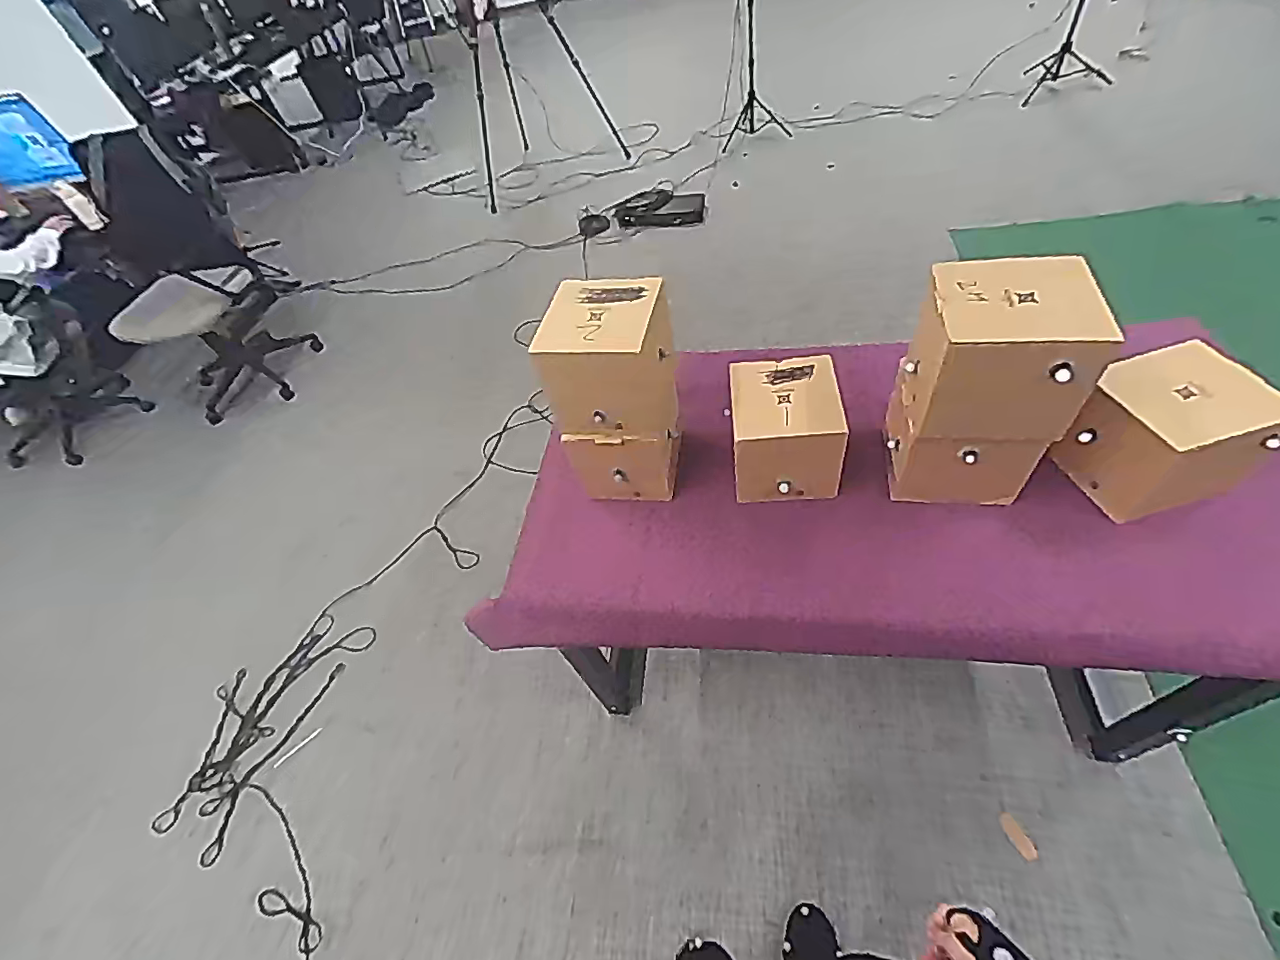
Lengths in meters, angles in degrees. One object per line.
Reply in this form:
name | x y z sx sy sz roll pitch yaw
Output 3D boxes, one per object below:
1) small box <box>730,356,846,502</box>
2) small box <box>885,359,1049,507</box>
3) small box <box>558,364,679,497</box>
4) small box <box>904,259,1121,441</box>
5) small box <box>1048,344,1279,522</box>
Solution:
small box | 0.236 -0.082 0.903 0.168 0.176 0.179 -3 52 10
small box | 0.488 -0.072 0.843 0.179 0.176 0.168 3 53 14
small box | -0.027 -0.084 0.960 0.168 0.176 0.179 2 53 13
small box | 0.465 -0.166 0.710 0.179 0.176 0.168 3 53 15
small box | 0.739 -0.062 0.782 0.179 0.176 0.168 -16 50 0
